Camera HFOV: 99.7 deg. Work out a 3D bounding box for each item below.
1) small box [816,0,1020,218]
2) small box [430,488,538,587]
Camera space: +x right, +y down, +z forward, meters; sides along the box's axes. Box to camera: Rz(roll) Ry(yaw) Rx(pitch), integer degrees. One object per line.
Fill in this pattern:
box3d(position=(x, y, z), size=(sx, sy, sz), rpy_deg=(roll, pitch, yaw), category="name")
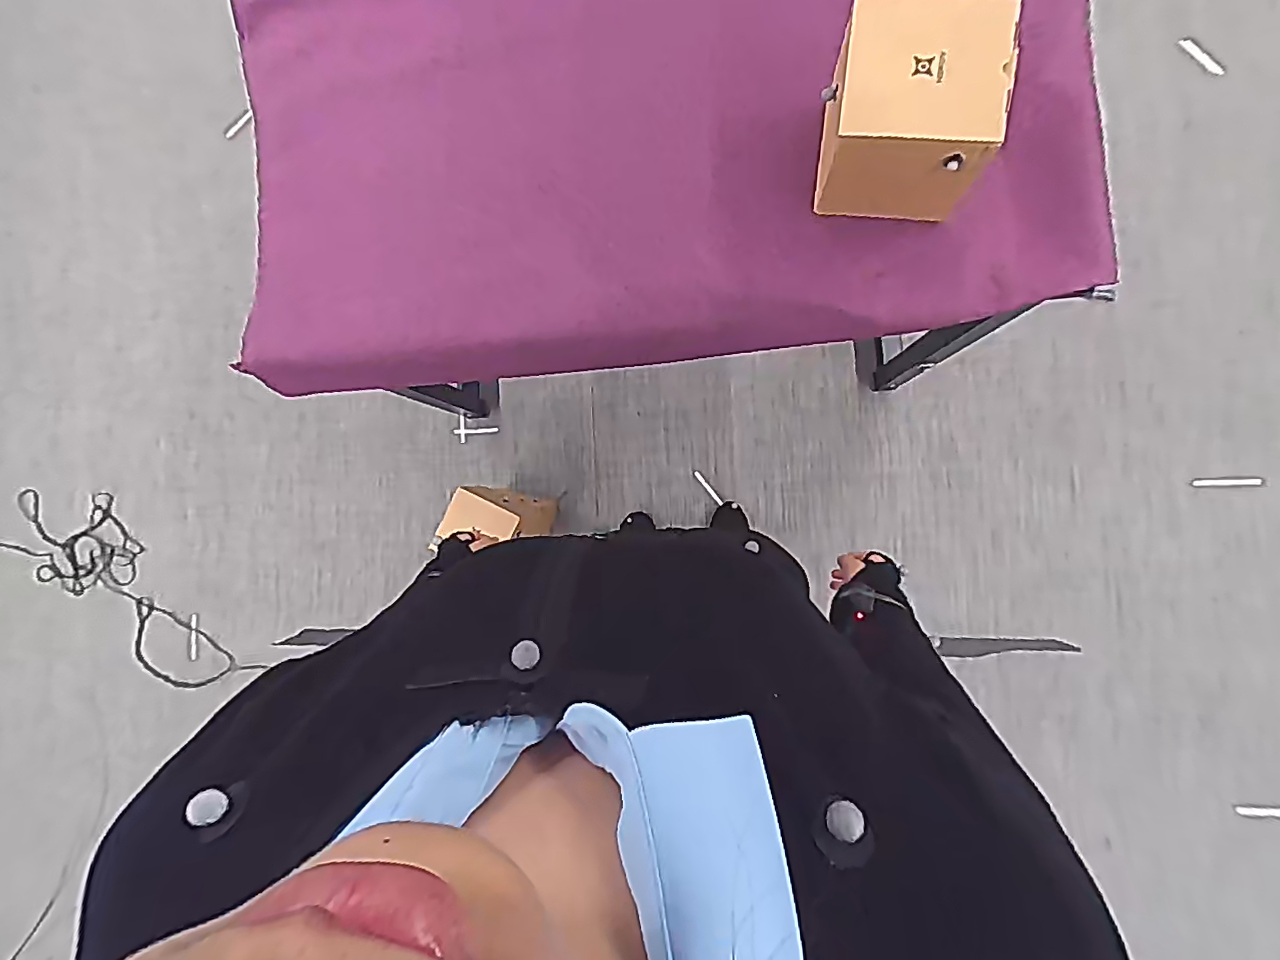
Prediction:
box3d(position=(0.326, -0.449, 0.672), size=(0.179, 0.176, 0.168), rpy_deg=(7, 89, 8), category="small box")
box3d(position=(-0.364, 0.131, 1.300), size=(0.168, 0.176, 0.179), rpy_deg=(26, 92, 6), category="small box")
